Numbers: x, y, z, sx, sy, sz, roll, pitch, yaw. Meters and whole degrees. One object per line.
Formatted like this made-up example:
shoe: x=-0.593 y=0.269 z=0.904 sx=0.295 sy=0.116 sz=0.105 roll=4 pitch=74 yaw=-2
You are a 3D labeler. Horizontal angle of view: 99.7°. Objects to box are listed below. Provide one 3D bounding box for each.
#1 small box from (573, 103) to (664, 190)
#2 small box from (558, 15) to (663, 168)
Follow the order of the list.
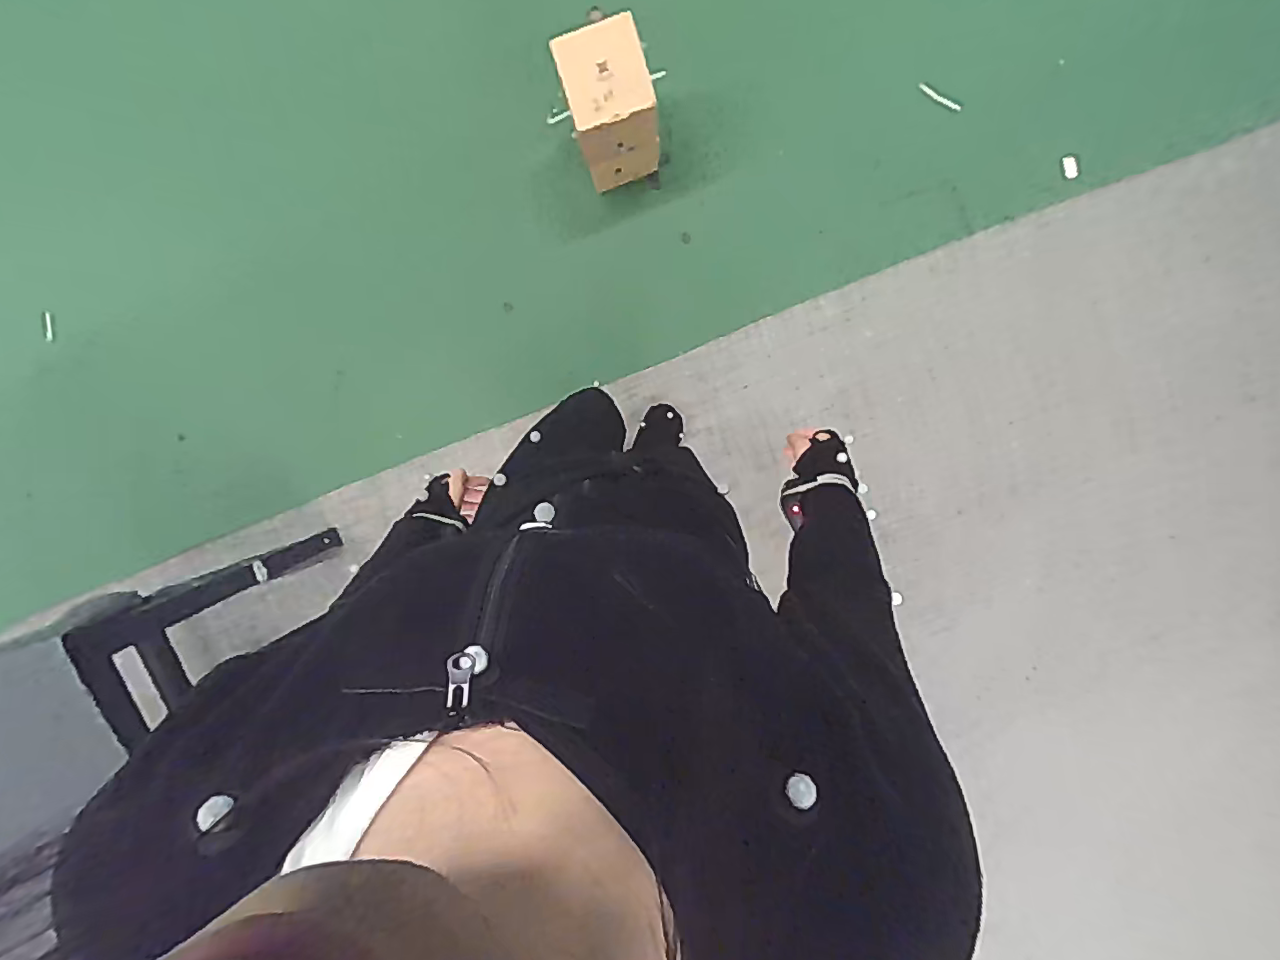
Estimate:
small box: x=-0.043 y=-0.822 z=1.289 sx=0.168 sy=0.176 sz=0.179 roll=-20 pitch=97 yaw=6
small box: x=-0.055 y=-0.796 z=1.126 sx=0.168 sy=0.176 sz=0.179 roll=-17 pitch=98 yaw=6
